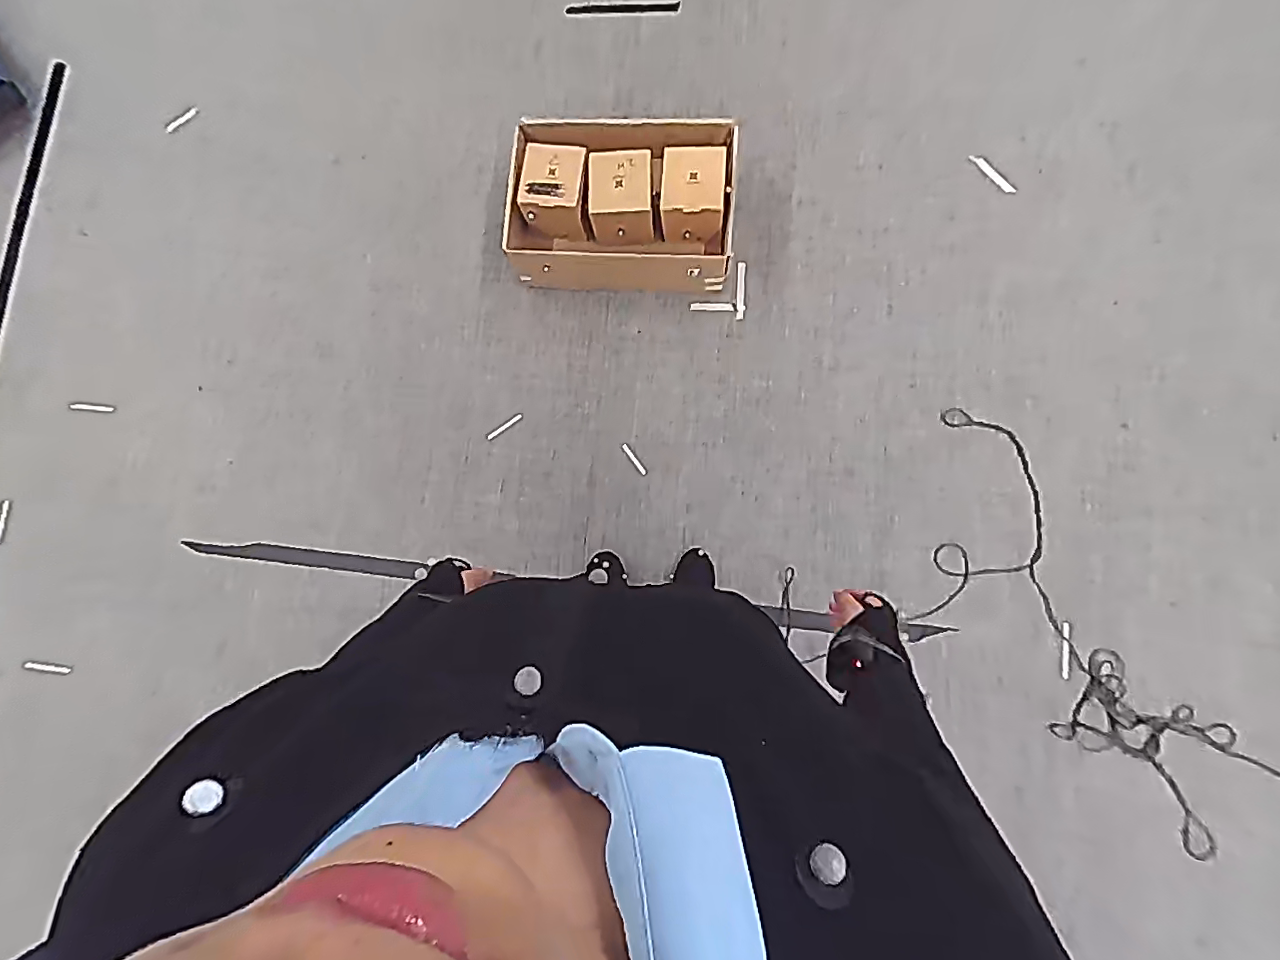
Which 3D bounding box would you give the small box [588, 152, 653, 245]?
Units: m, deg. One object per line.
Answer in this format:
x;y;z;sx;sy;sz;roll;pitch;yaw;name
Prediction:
-0.048;-0.774;1.508;0.168;0.176;0.179;0;83;4;small box

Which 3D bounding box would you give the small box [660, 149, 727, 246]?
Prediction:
0.148;-0.774;1.490;0.168;0.176;0.179;3;84;8;small box
